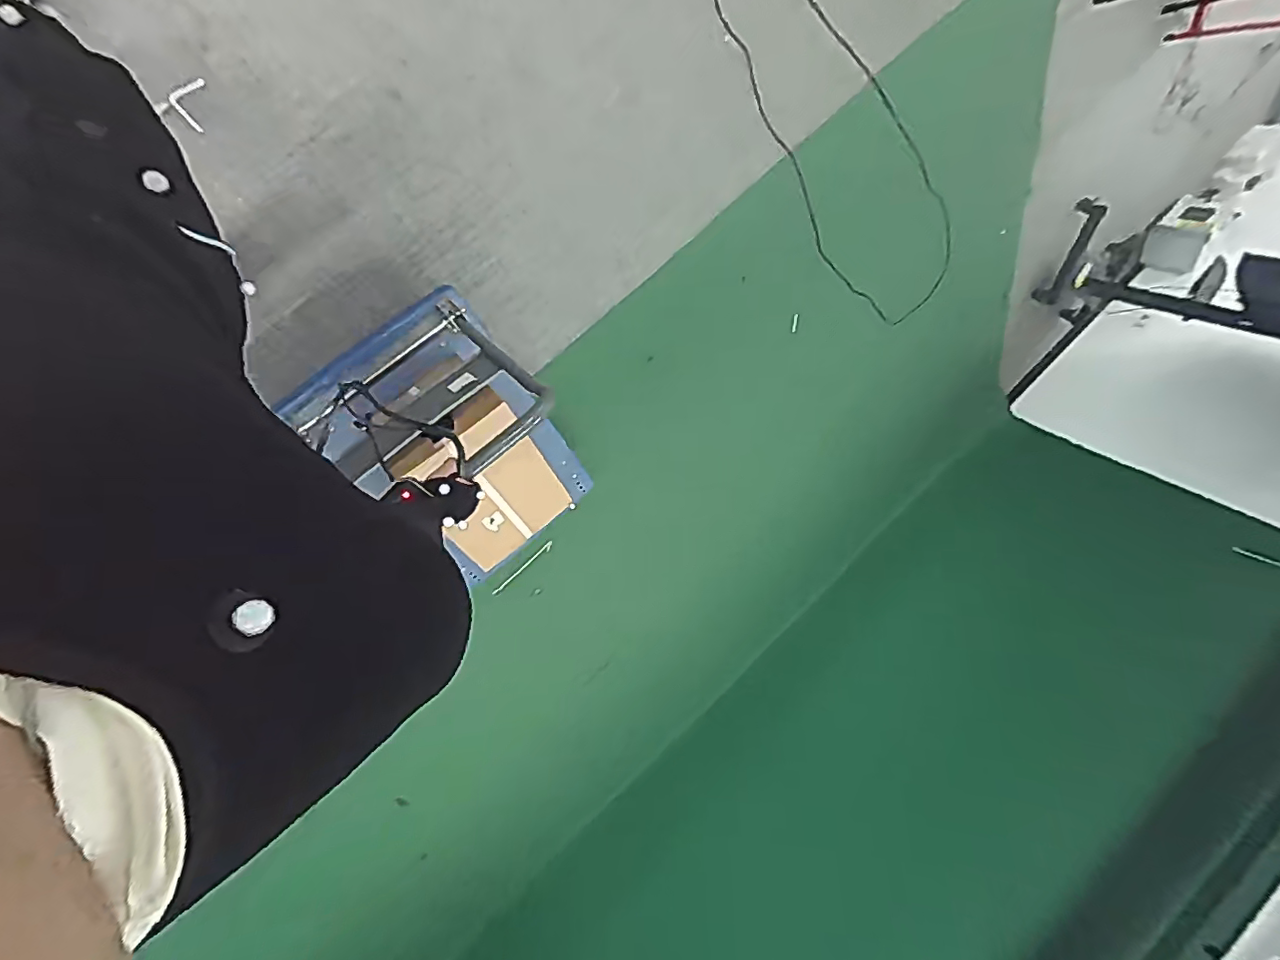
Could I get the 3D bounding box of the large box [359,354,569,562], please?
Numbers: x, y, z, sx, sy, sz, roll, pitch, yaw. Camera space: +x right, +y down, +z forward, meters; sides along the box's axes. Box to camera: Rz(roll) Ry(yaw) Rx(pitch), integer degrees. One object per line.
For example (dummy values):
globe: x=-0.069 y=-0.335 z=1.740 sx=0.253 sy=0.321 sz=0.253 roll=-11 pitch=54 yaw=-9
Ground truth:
large box: x=-0.465 y=-0.059 z=1.461 sx=0.320 sy=0.320 sz=0.408 roll=-39 pitch=139 yaw=-11
